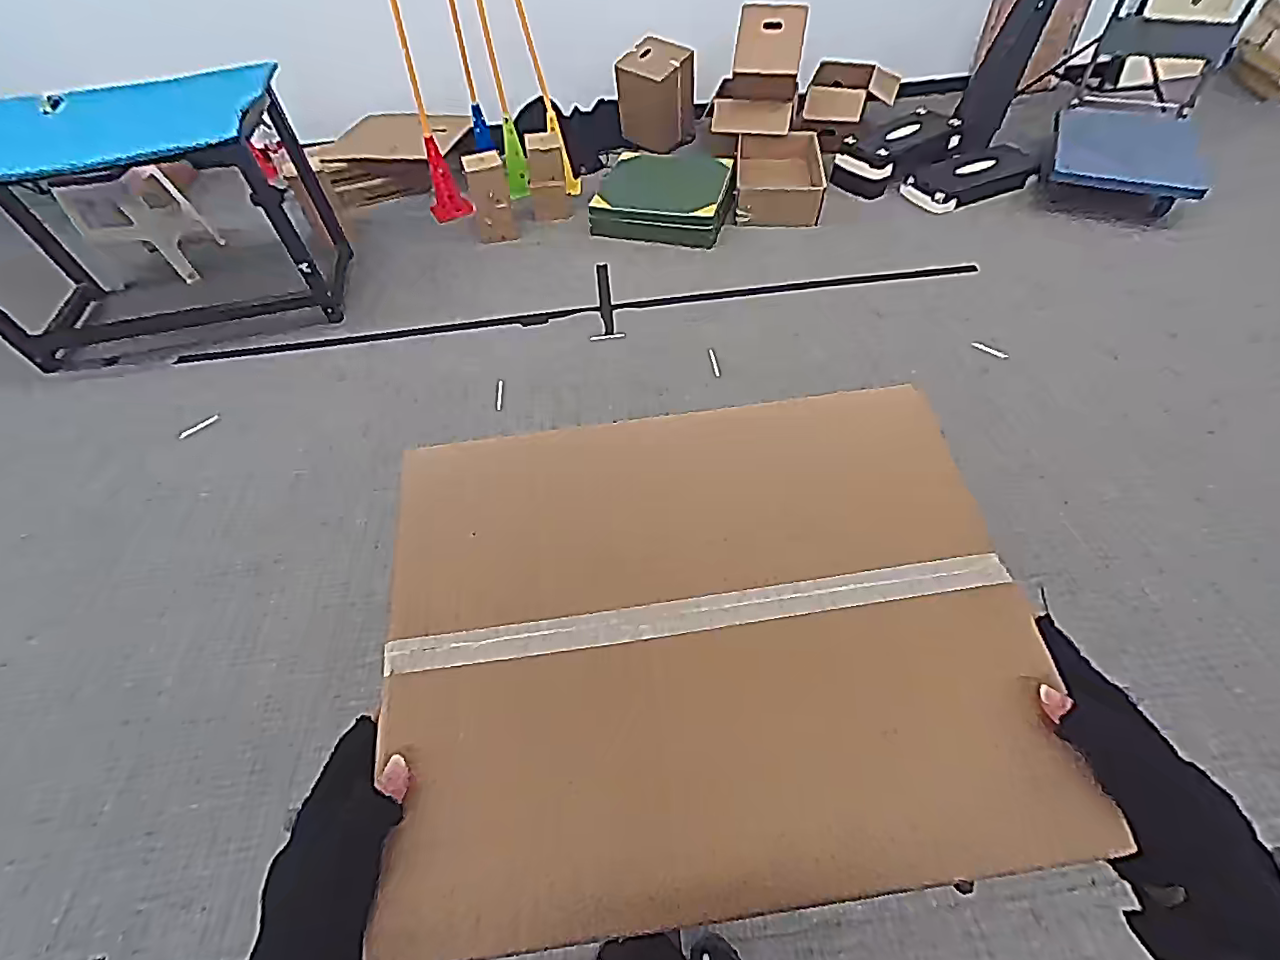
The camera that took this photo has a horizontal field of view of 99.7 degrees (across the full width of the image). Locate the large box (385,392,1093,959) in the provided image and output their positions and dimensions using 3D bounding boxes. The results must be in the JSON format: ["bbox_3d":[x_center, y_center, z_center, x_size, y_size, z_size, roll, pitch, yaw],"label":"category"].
[{"bbox_3d":[0.045,0.160,0.492,0.408,0.320,0.320,-8,62,-1],"label":"large box"}]
